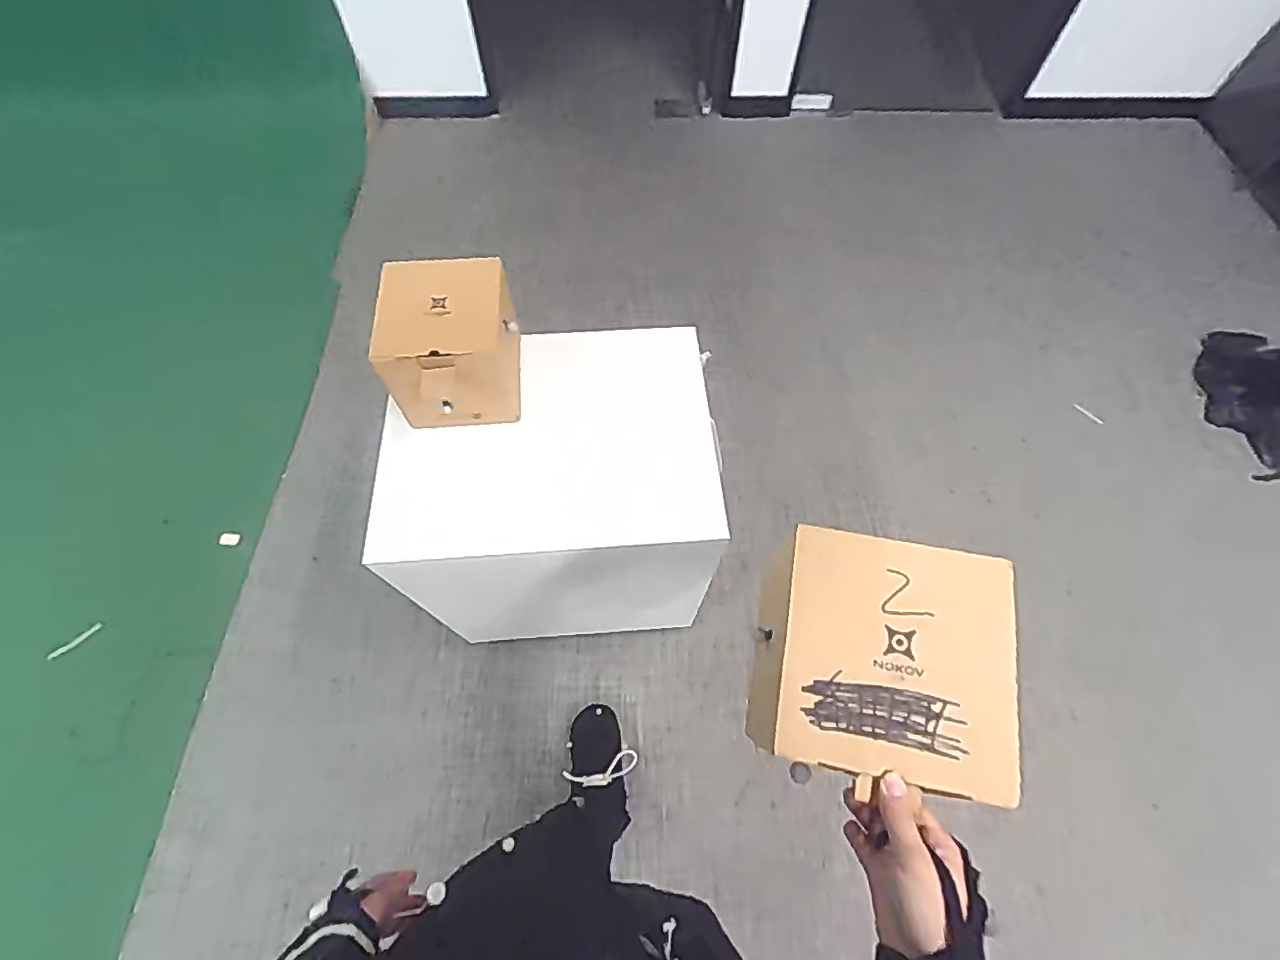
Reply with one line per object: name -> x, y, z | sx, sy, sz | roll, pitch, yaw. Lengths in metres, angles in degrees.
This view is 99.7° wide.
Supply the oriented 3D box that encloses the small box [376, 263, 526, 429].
small box -> -0.267, -0.195, 0.805 | 0.168, 0.176, 0.179 | -4, 64, -4
